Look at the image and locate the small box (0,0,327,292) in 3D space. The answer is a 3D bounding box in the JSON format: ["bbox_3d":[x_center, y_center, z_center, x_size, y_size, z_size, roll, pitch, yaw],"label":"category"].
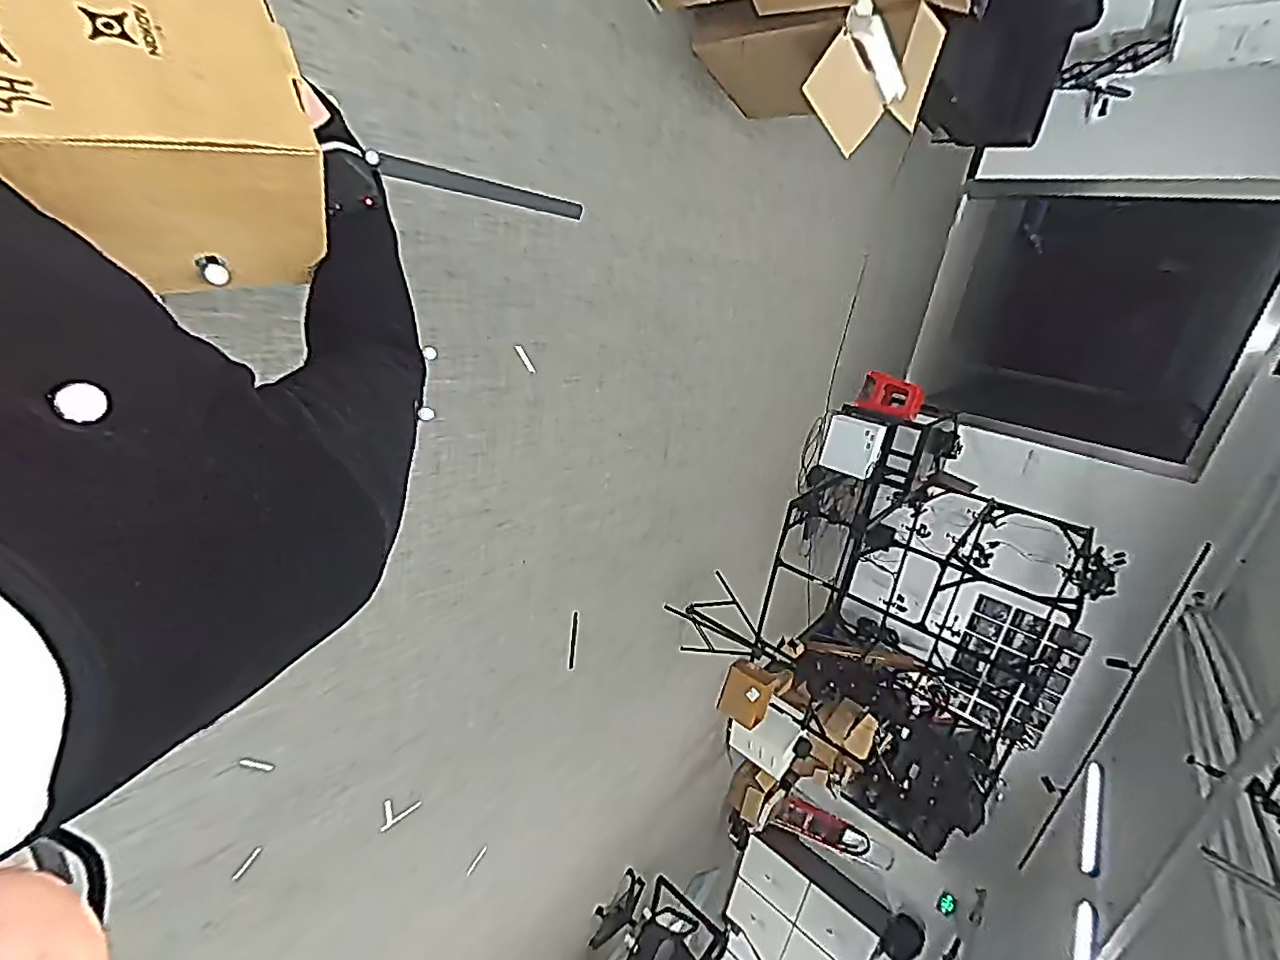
[{"bbox_3d":[-0.367,-0.269,0.428,0.179,0.176,0.168,-18,85,-31],"label":"small box"}]
